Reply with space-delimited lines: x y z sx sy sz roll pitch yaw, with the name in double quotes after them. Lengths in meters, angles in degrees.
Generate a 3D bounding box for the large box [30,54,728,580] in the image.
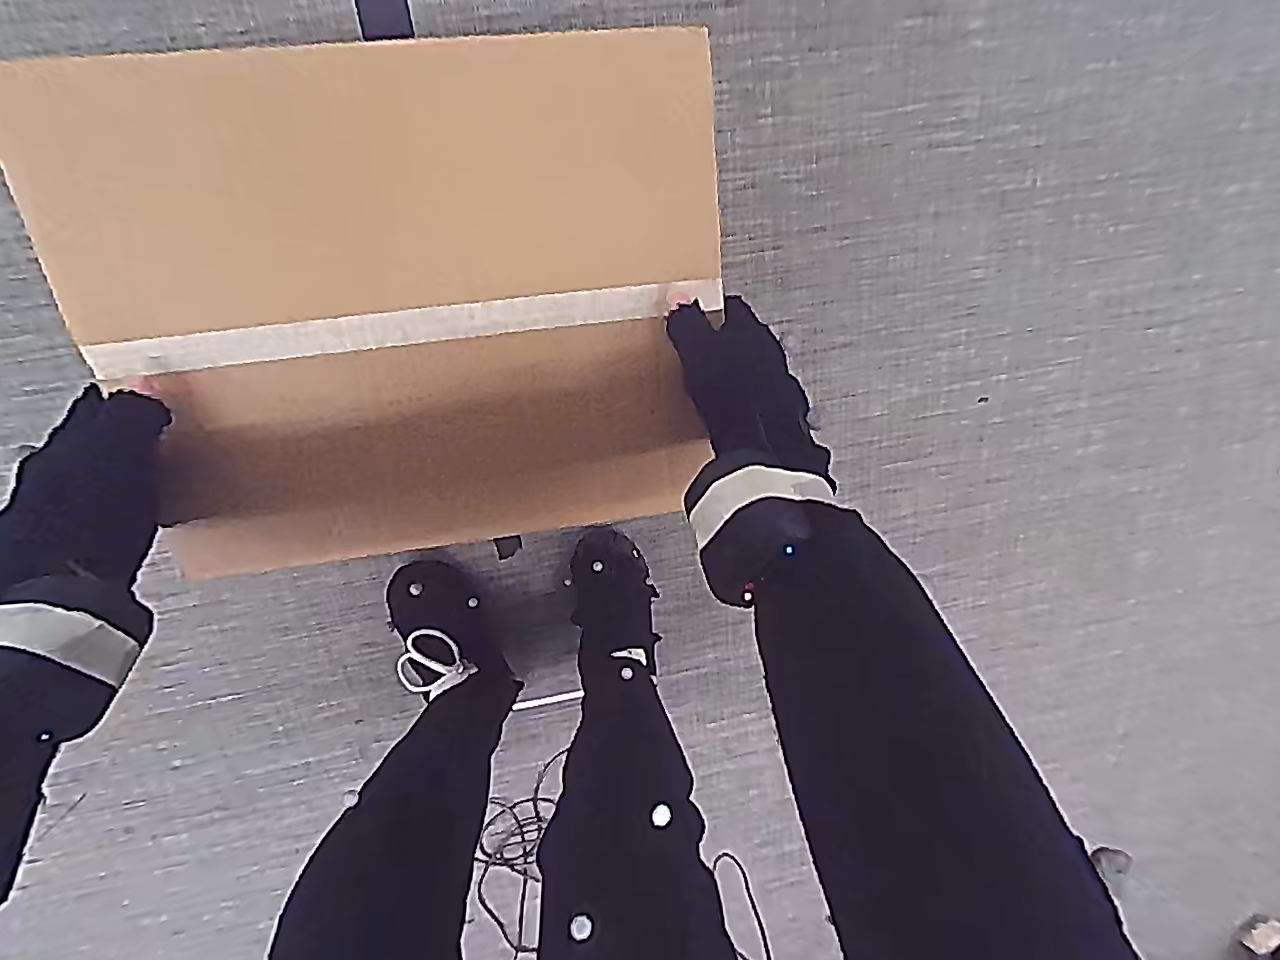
-0.161 -0.142 0.512 0.408 0.320 0.320 -8 110 -6 "large box"
